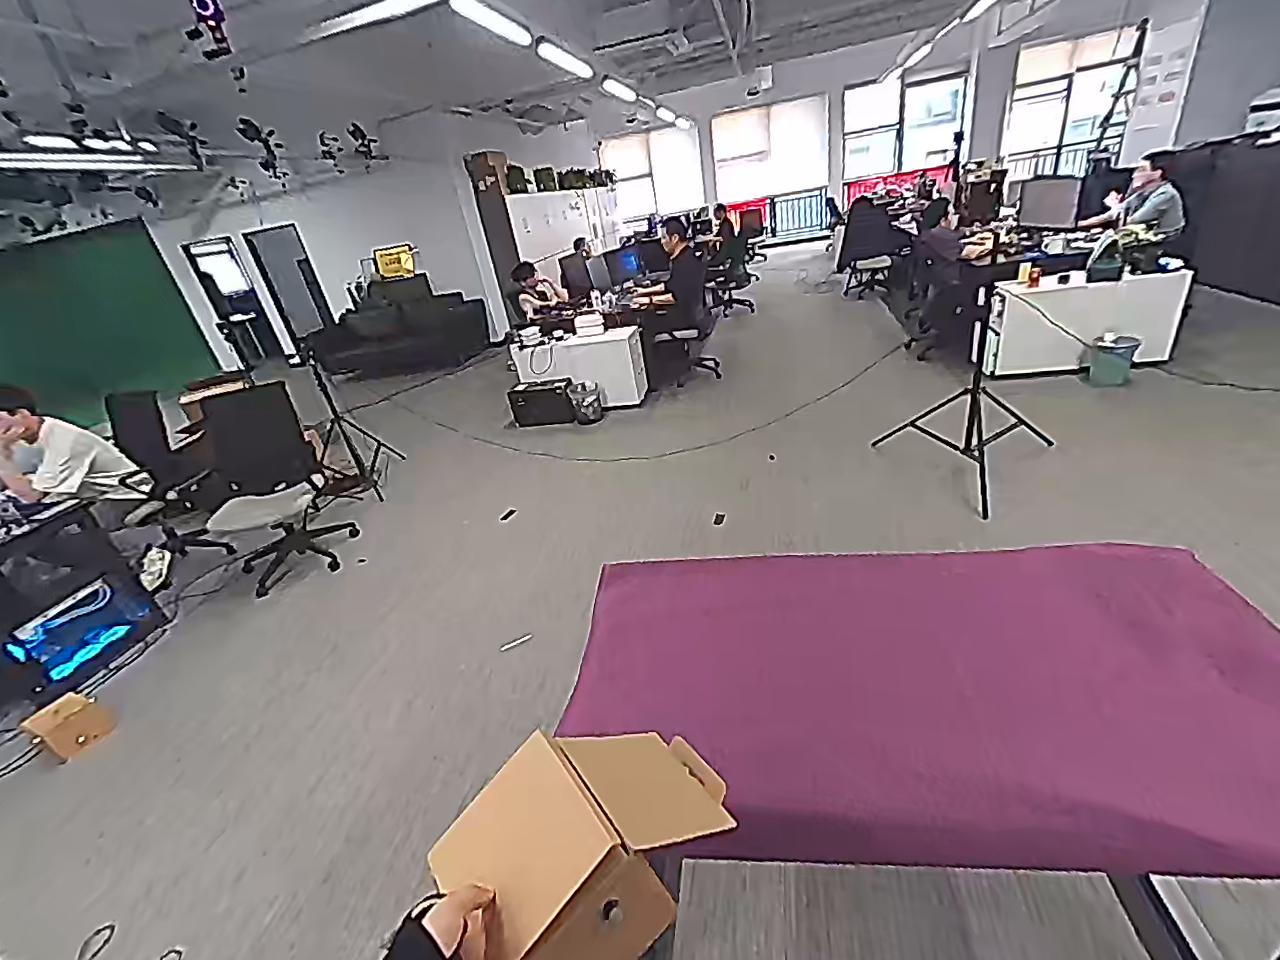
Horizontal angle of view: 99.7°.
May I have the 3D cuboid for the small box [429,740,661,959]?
[{"bbox_3d":[-0.094,0.441,0.598,0.179,0.176,0.168,-36,35,-20],"label":"small box"}]
